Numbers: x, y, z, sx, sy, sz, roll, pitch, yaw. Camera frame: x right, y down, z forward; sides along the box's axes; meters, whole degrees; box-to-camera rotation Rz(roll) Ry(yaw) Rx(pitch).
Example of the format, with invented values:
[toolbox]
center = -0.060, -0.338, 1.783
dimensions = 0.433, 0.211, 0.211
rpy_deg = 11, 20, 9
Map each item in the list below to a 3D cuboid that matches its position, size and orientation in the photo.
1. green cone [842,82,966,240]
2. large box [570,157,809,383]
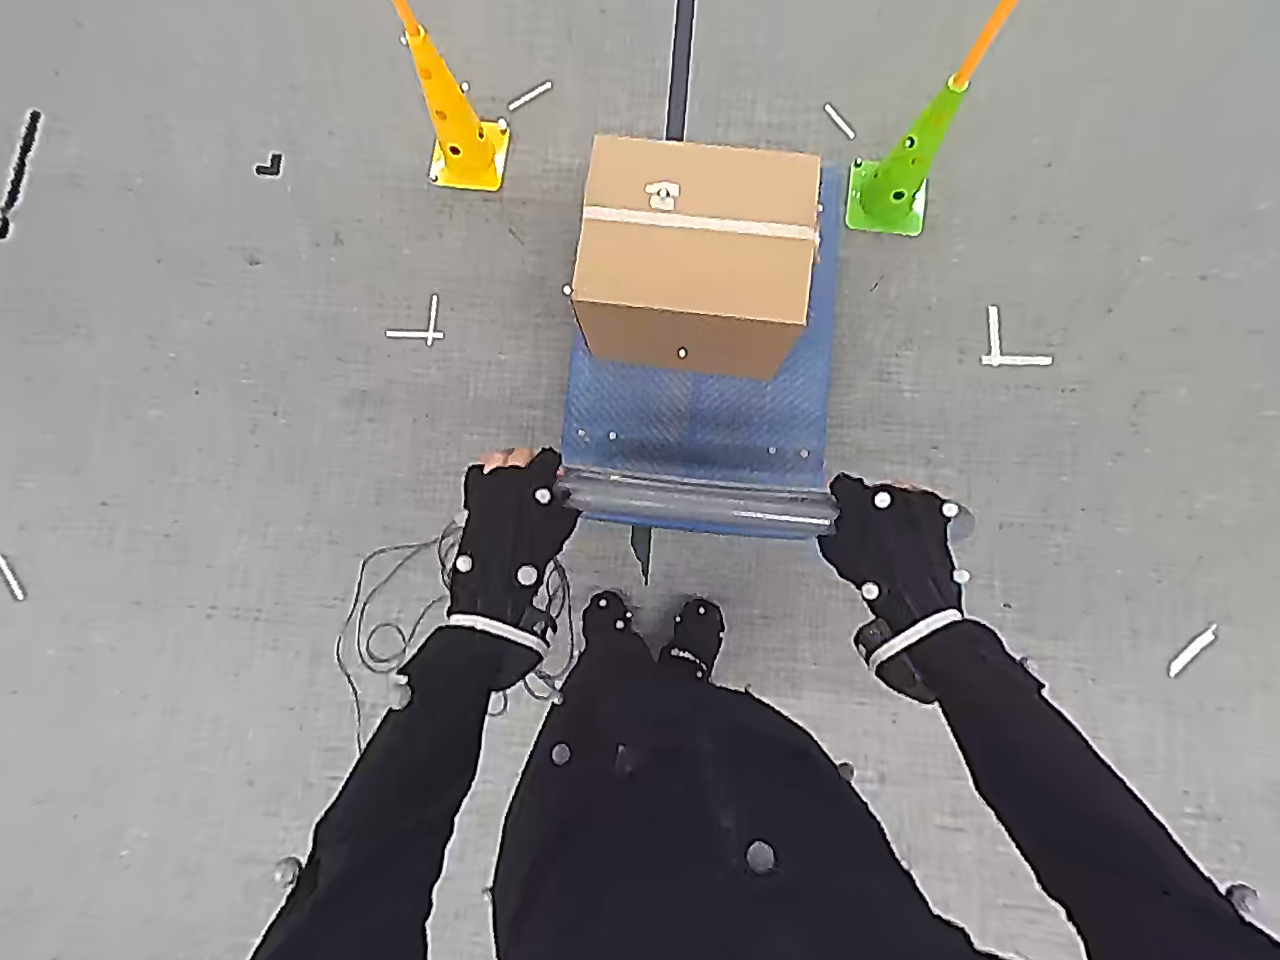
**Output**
[green cone]
center = 0.643, -0.767, 1.278
dimensions = 0.202, 0.368, 0.200
rpy_deg = 8, 83, 2
[large box]
center = 0.098, -0.401, 1.102
dimensions = 0.408, 0.320, 0.320
rpy_deg = 7, 83, 4
